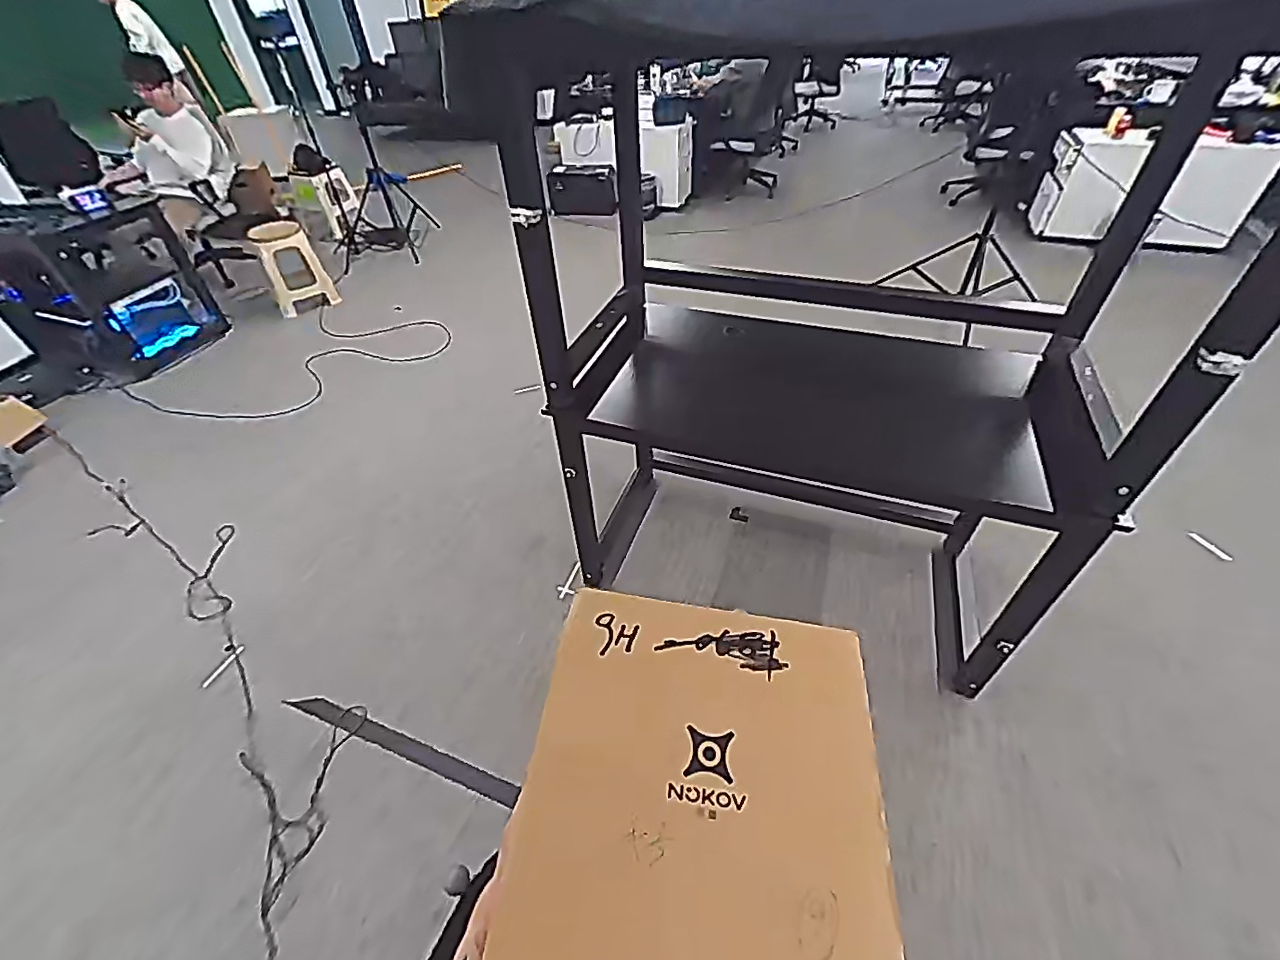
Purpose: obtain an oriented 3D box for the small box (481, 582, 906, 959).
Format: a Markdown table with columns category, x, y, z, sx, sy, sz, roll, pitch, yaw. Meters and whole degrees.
| category | x | y | z | sx | sy | sz | roll | pitch | yaw |
| --- | --- | --- | --- | --- | --- | --- | --- | --- | --- |
| small box | 0.028 | 0.187 | 0.311 | 0.168 | 0.176 | 0.179 | 9 | 49 | 3 |
